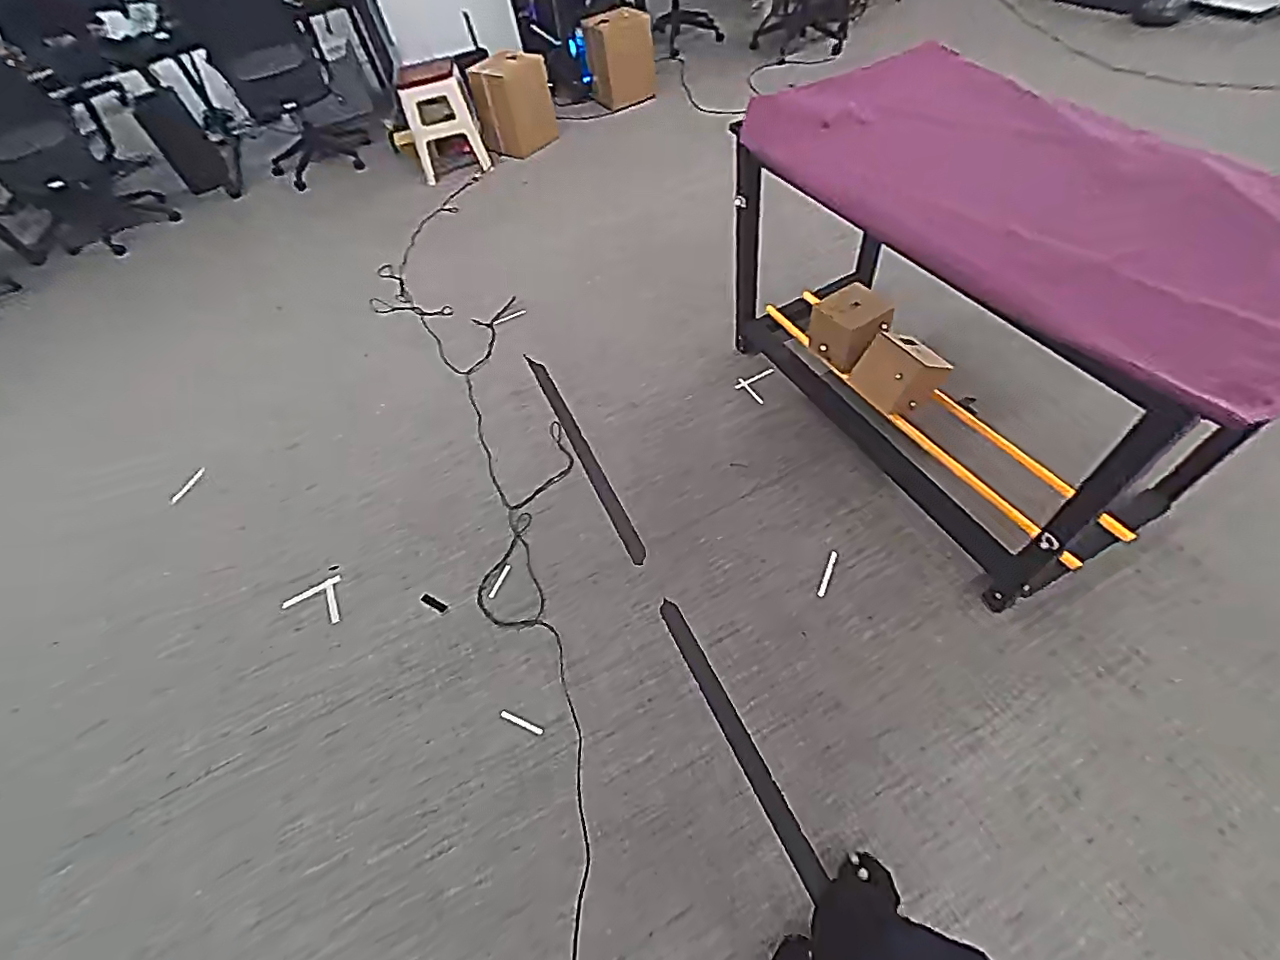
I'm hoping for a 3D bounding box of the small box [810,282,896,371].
[{"bbox_3d":[0.651,-0.472,1.675,0.179,0.176,0.168,-29,55,-10],"label":"small box"}]
